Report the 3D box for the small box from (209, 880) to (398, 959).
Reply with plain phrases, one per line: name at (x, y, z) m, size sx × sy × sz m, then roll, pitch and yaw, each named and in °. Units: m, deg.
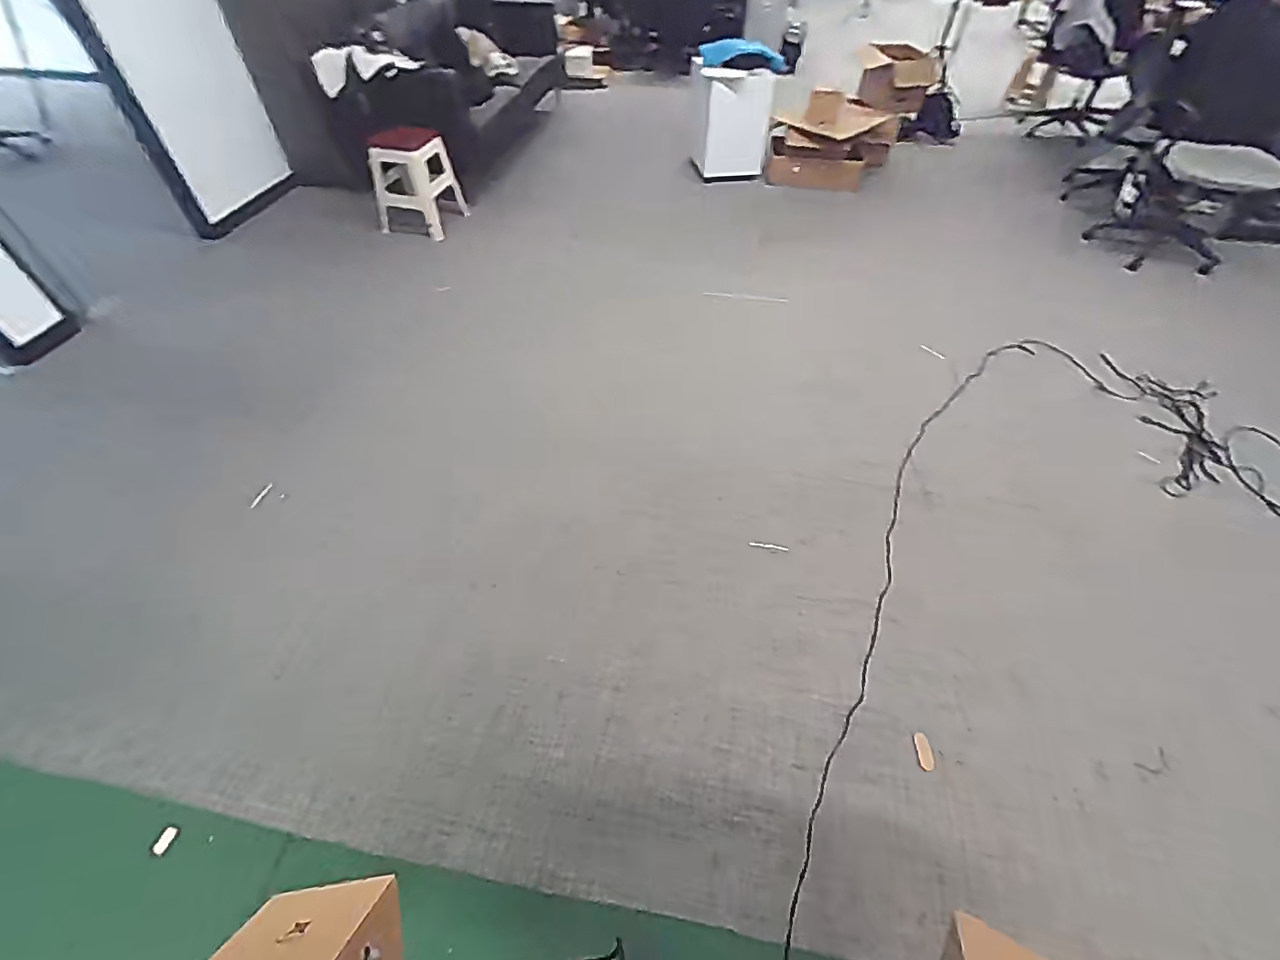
small box at (-0.402, 0.625, 0.640) m, size 0.168 × 0.179 × 0.176 m, roll -8°, pitch 84°, yaw -2°
